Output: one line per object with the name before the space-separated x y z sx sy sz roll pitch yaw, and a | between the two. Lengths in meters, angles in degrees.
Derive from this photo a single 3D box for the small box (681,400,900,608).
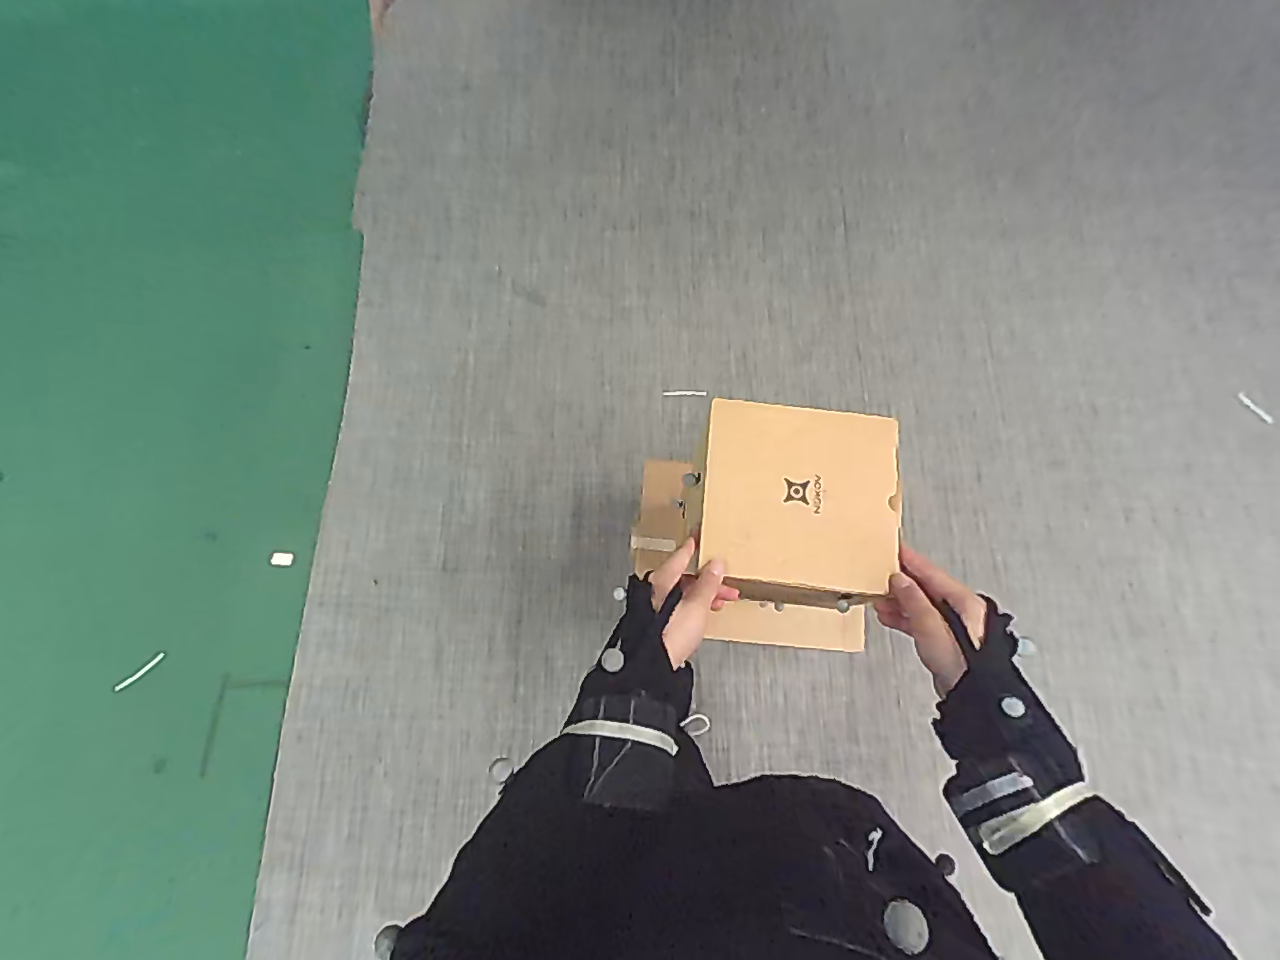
small box | 0.138 0.035 0.552 0.179 0.176 0.168 6 73 0

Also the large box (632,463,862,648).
large box | 0.190 0.168 1.109 0.408 0.320 0.320 5 75 0
